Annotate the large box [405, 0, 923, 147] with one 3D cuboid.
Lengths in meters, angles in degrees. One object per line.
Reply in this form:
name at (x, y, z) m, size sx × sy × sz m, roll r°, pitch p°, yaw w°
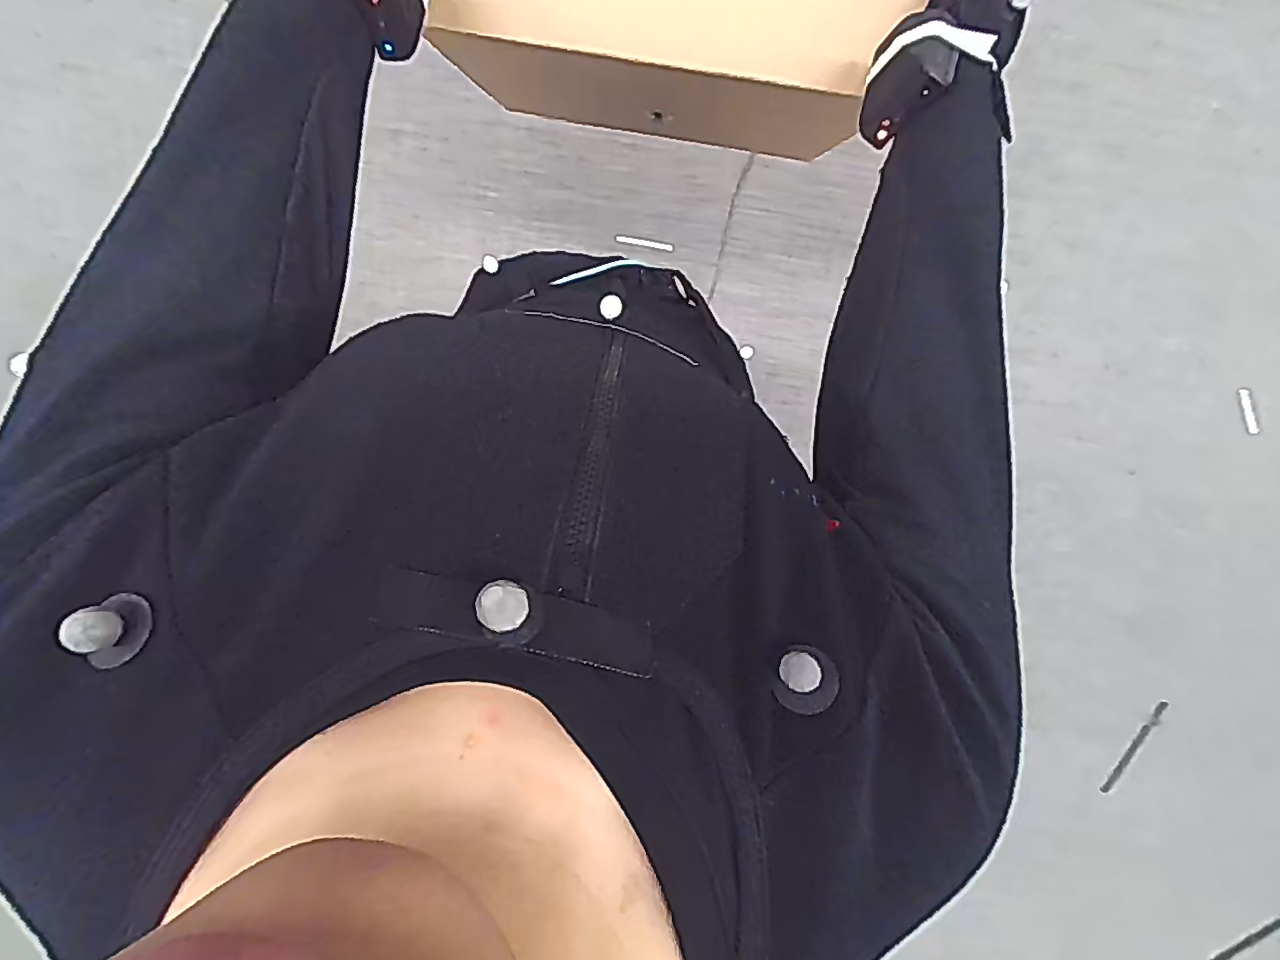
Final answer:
large box at (0.041, -0.534, 0.504) m, size 0.408 × 0.320 × 0.320 m, roll 9°, pitch 113°, yaw 0°
